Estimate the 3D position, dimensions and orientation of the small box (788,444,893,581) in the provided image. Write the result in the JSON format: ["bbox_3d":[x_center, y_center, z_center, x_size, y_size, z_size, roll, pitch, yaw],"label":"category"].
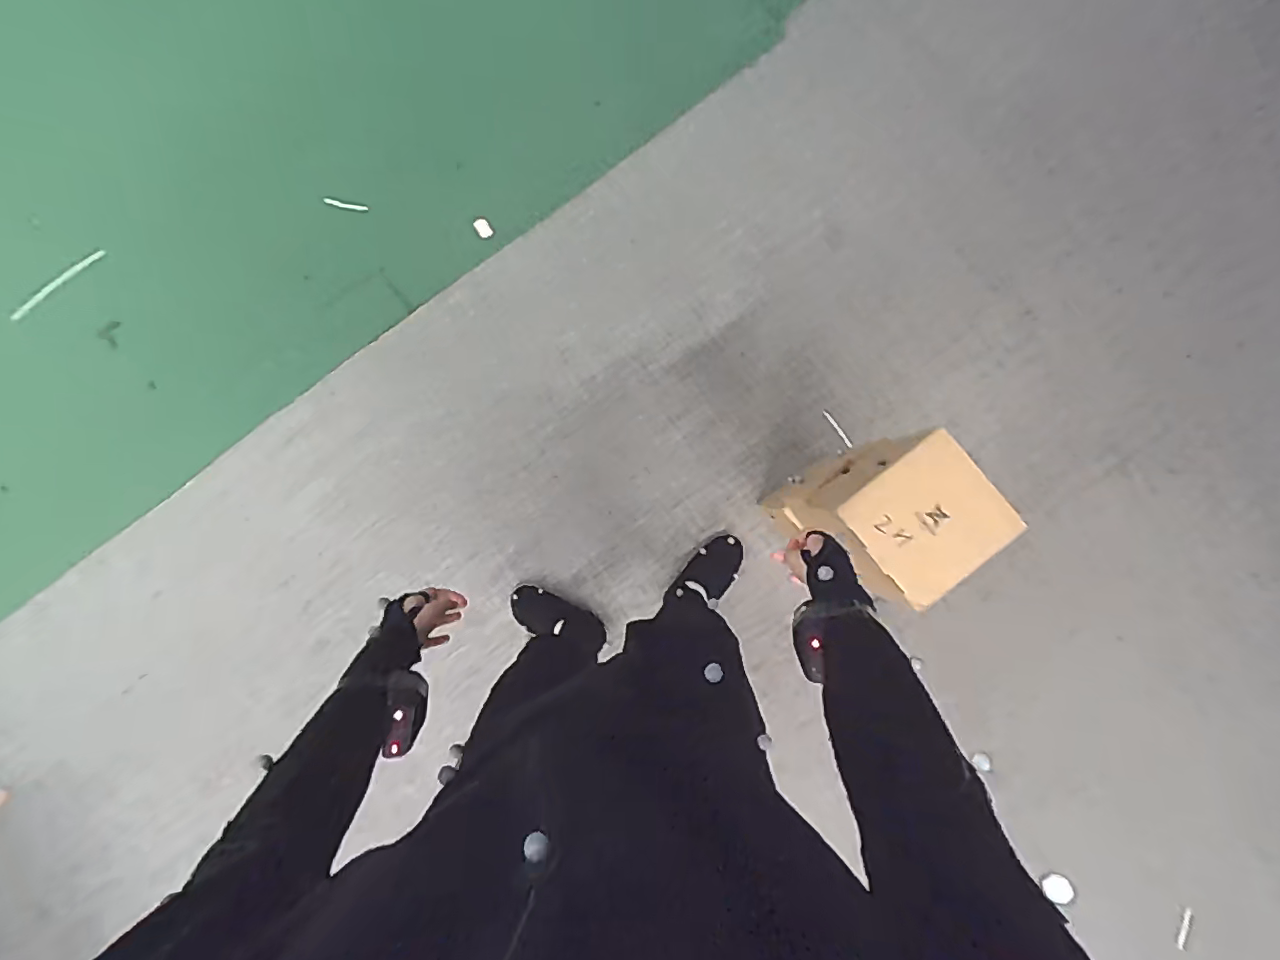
[{"bbox_3d":[0.378,0.062,0.919,0.168,0.176,0.179,-37,87,1],"label":"small box"}]

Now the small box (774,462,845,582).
[{"bbox_3d":[0.388,0.079,1.083,0.179,0.176,0.168,-37,87,2],"label":"small box"}]

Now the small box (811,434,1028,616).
[{"bbox_3d":[0.370,0.058,0.755,0.179,0.176,0.168,-38,86,1],"label":"small box"}]
